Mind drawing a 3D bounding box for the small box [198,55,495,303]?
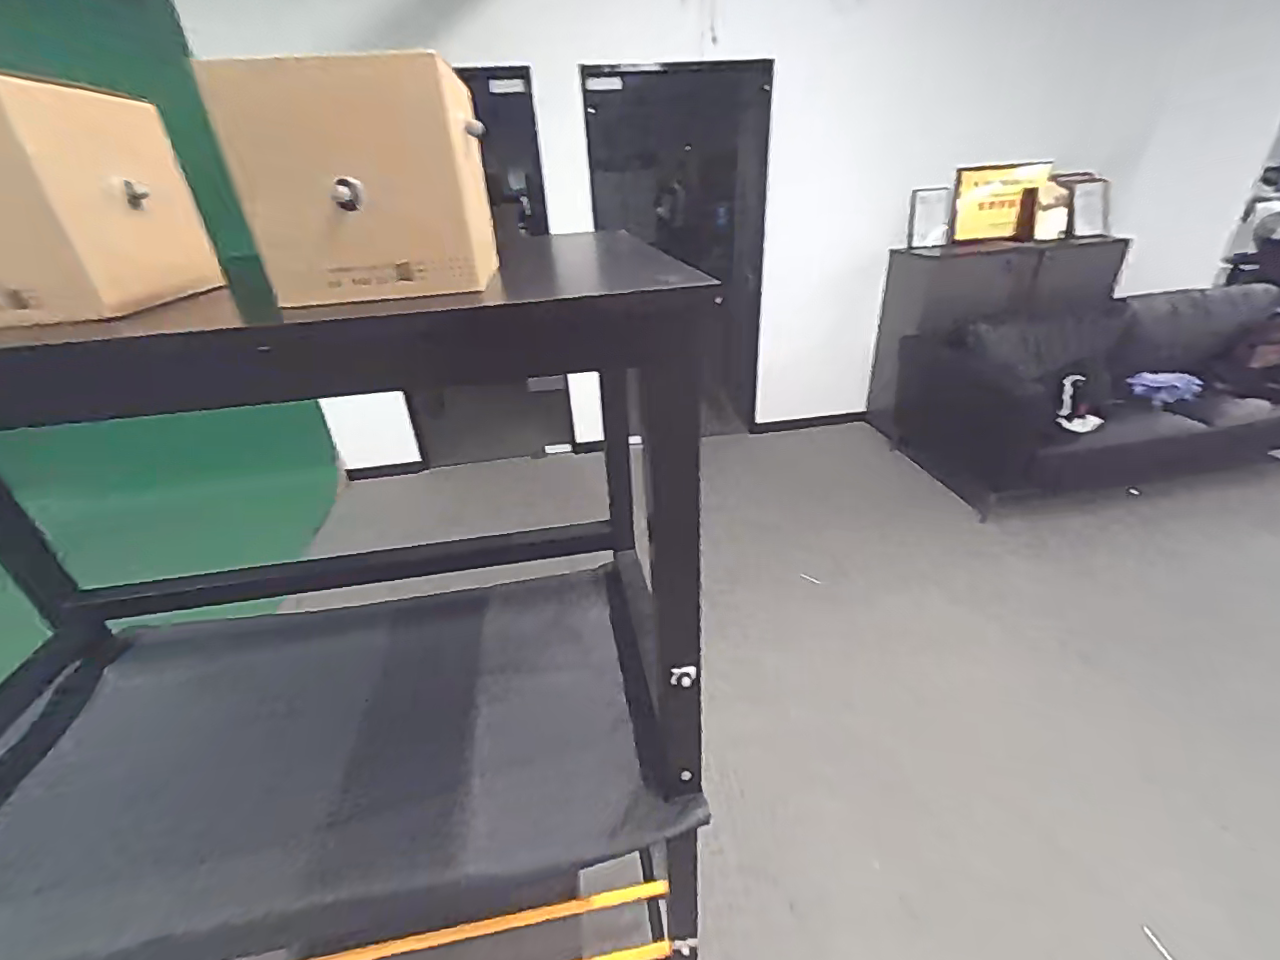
[{"bbox_3d":[-0.232,-0.260,0.490,0.168,0.176,0.179,-7,29,-7],"label":"small box"}]
